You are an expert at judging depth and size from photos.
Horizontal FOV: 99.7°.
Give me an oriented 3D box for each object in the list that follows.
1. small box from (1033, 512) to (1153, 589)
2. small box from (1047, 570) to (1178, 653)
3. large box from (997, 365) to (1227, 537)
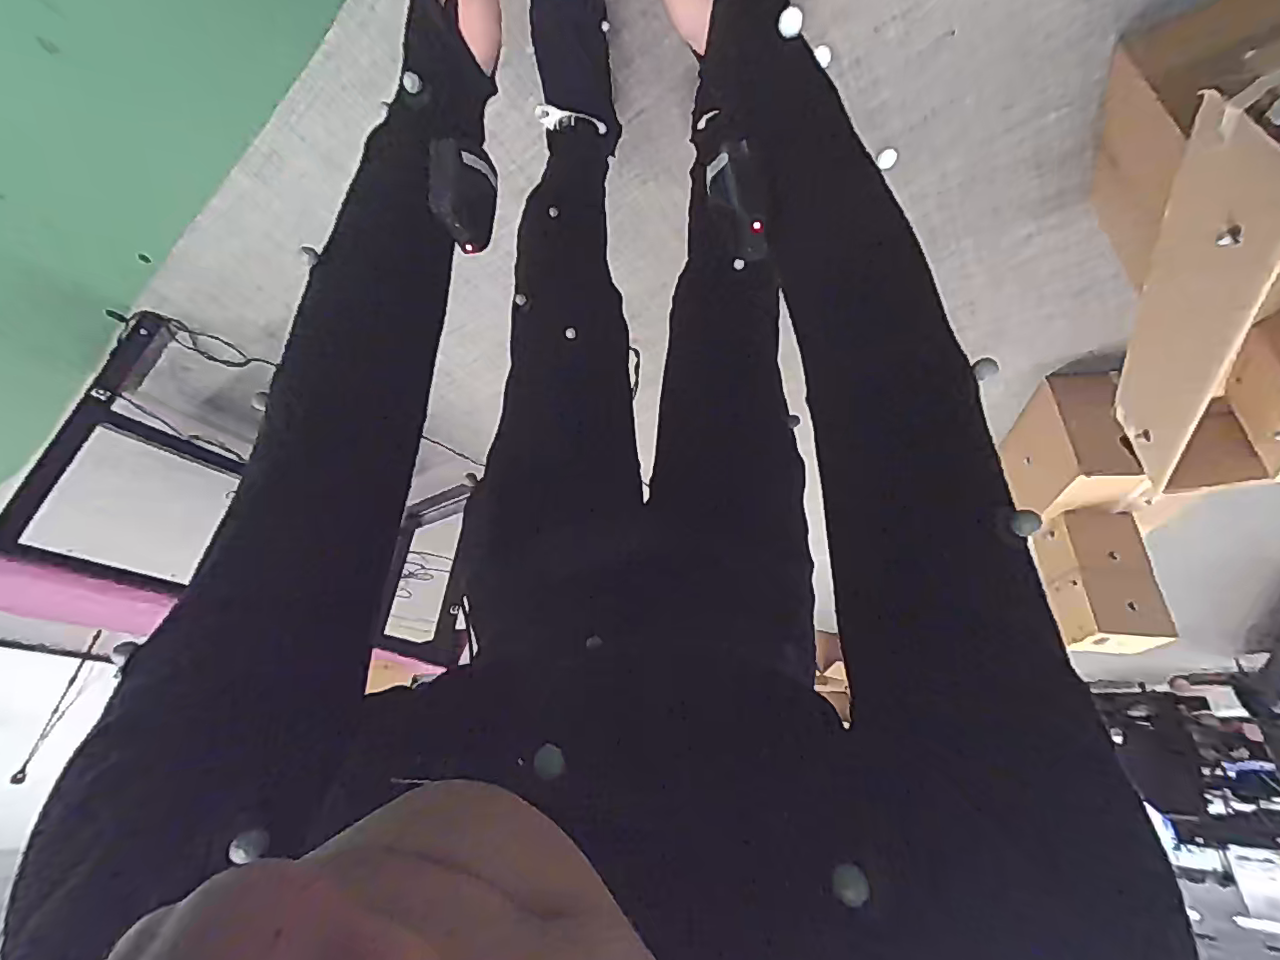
[{"bbox_3d":[1.223,0.197,1.475,0.179,0.176,0.168,2,150,8],"label":"small box"},{"bbox_3d":[1.201,0.337,1.394,0.179,0.176,0.168,1,150,8],"label":"small box"},{"bbox_3d":[1.261,-0.061,1.510,0.320,0.320,0.408,-3,149,13],"label":"large box"}]
